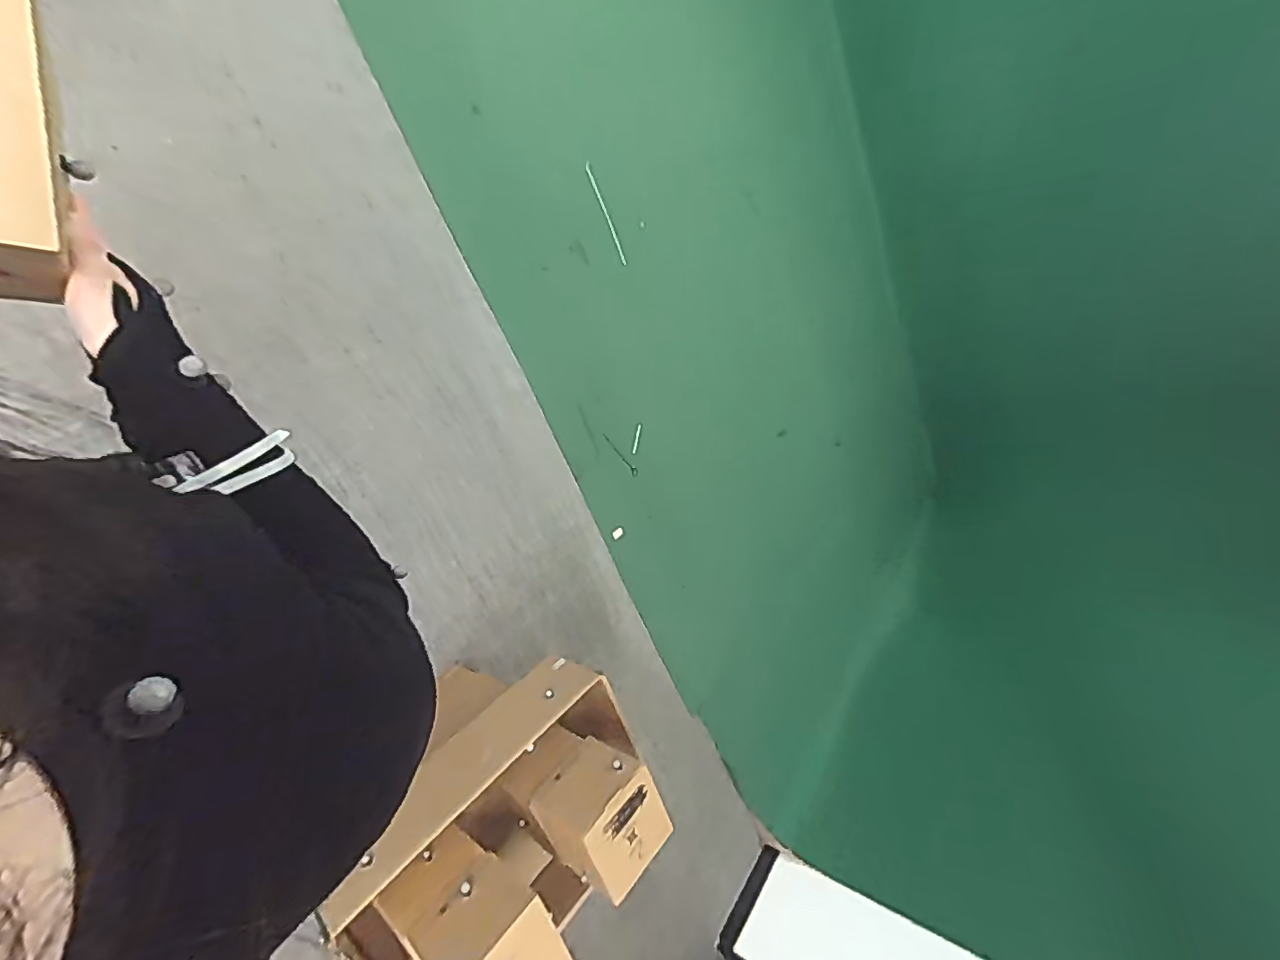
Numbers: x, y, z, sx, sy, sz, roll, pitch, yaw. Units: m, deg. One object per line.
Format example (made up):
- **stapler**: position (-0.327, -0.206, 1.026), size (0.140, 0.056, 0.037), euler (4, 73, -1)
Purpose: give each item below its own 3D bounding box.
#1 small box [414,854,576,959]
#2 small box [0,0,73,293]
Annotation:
- **small box**: position (-0.232, 0.763, 0.877), size (0.168, 0.176, 0.179), euler (-32, 108, -39)
- **small box**: position (-0.442, -0.208, 0.293), size (0.179, 0.176, 0.168), euler (-6, 97, -41)
